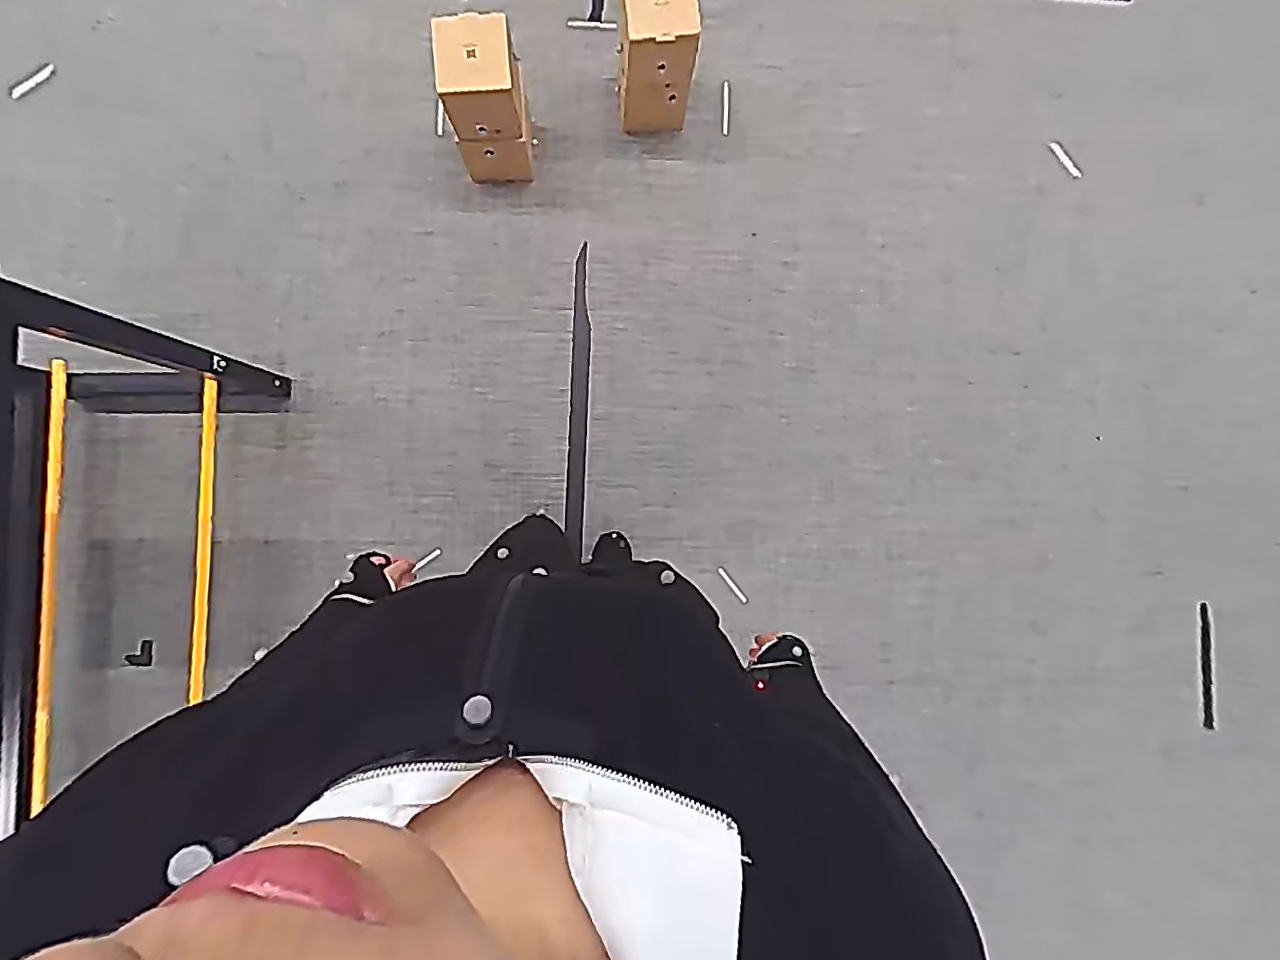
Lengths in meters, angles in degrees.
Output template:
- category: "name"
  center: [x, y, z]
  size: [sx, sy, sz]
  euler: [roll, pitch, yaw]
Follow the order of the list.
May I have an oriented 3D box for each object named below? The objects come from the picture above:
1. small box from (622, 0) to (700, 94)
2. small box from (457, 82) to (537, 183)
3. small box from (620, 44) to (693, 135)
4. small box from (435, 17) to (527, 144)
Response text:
- category: "small box"
  center: [0.045, -1.063, 1.295]
  size: [0.168, 0.176, 0.179]
  euler: [-6, 89, -3]
- category: "small box"
  center: [-0.375, -0.913, 1.431]
  size: [0.179, 0.176, 0.168]
  euler: [-2, 88, -3]
- category: "small box"
  center: [0.039, -1.066, 1.459]
  size: [0.179, 0.176, 0.168]
  euler: [-5, 88, -3]
- category: "small box"
  center: [-0.367, -0.929, 1.269]
  size: [0.168, 0.176, 0.179]
  euler: [-5, 90, -2]
